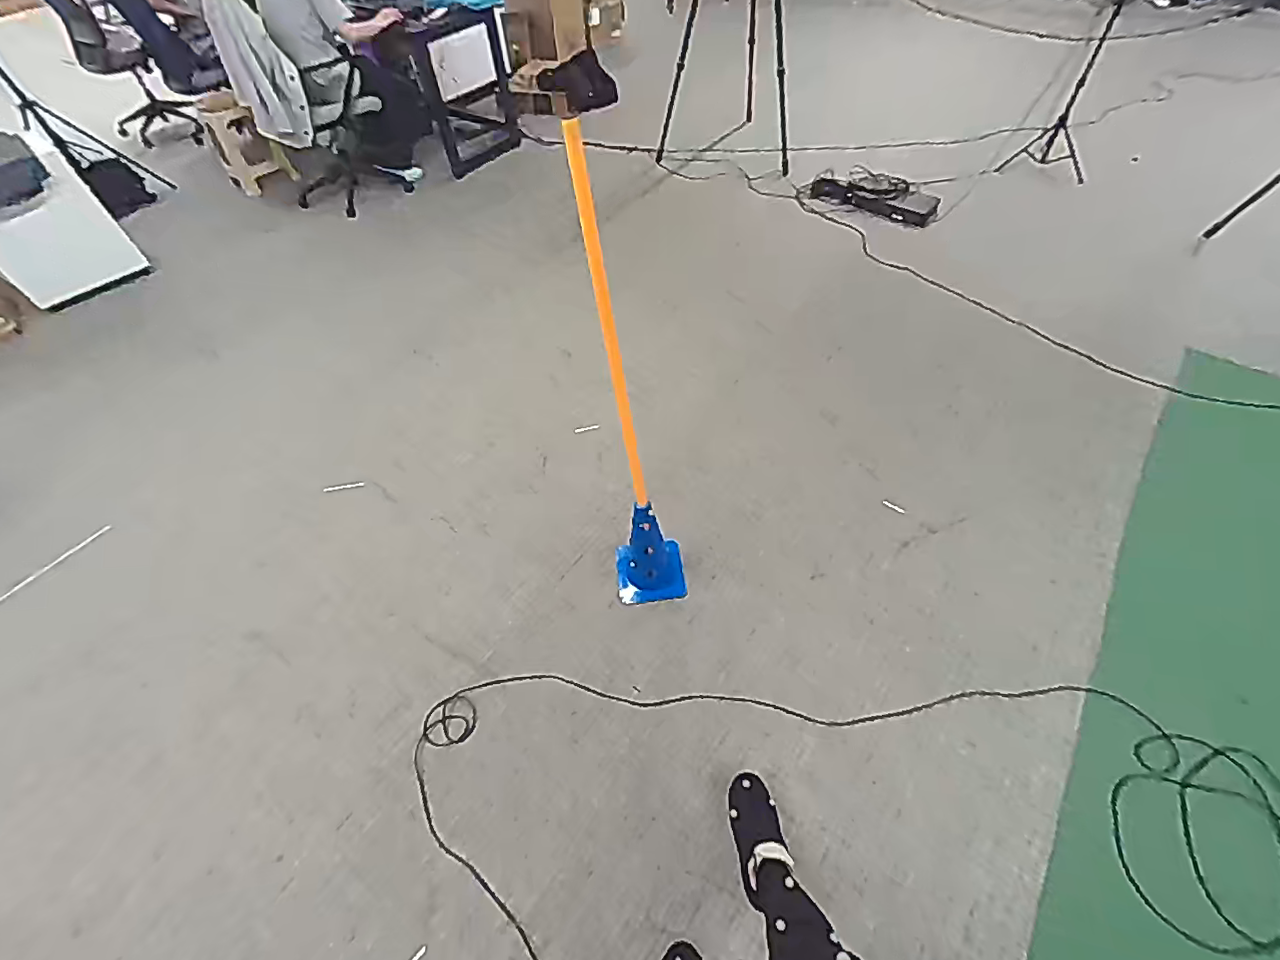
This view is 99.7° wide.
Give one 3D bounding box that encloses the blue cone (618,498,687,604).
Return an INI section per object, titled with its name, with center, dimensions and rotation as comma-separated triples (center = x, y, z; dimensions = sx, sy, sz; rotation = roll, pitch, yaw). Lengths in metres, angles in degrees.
[blue cone]
center = 0.021, 0.176, 1.495
dimensions = 0.192, 0.380, 0.193
rotation = -9, 50, -1
